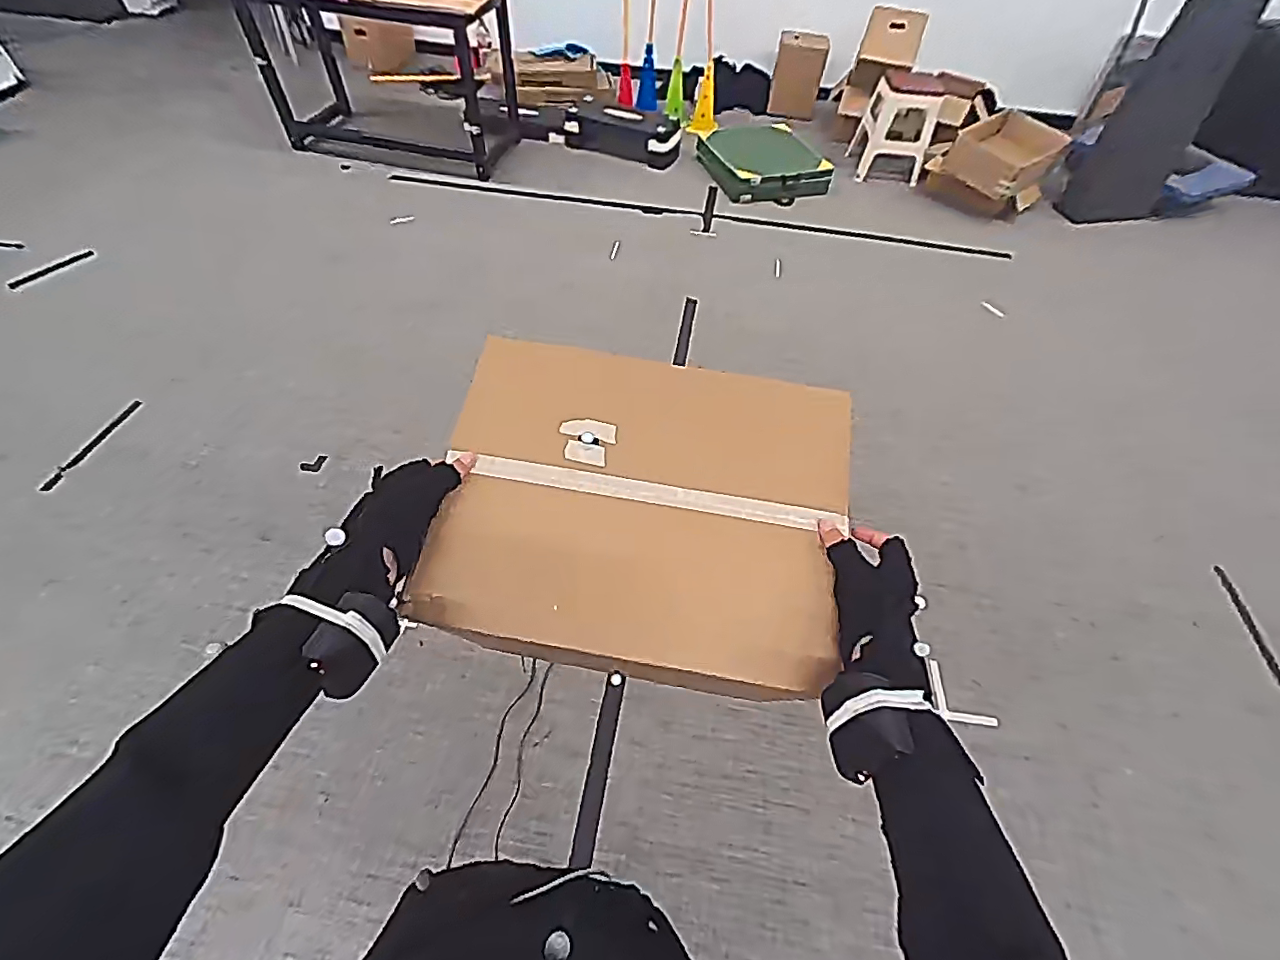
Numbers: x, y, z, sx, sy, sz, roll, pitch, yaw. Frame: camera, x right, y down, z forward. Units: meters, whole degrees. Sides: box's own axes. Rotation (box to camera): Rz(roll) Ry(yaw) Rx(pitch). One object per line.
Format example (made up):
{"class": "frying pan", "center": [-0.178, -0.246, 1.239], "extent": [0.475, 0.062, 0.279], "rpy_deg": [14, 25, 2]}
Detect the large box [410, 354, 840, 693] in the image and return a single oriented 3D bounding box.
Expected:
{"class": "large box", "center": [0.004, 0.079, 0.688], "extent": [0.408, 0.320, 0.320], "rpy_deg": [9, 67, 3]}
